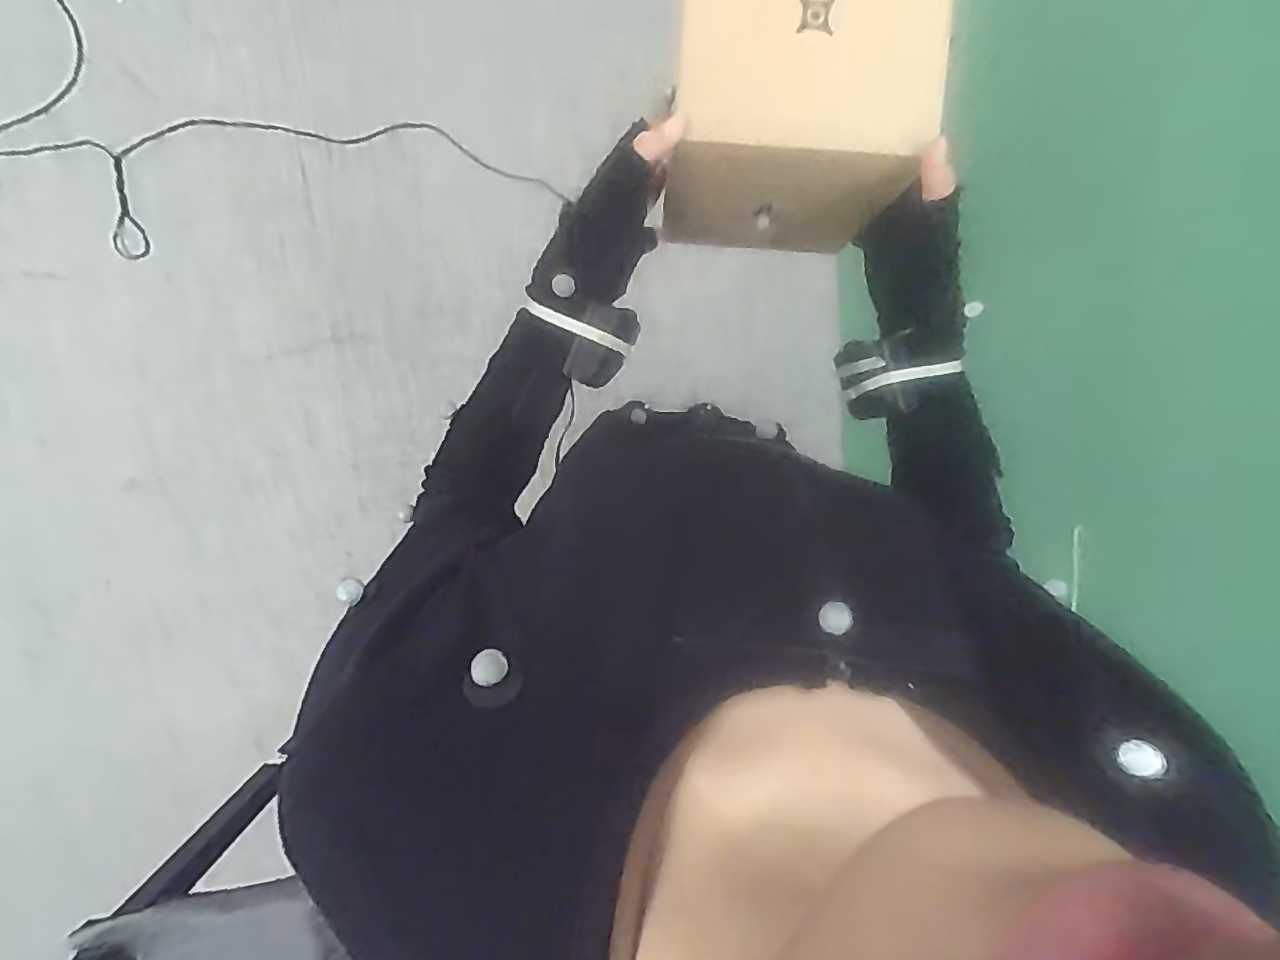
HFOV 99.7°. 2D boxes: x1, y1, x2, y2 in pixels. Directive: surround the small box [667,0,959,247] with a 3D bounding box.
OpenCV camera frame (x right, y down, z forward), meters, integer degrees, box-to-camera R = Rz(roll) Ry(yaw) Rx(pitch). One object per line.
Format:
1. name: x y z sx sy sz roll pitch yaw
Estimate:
1. small box: 0.110 -0.294 0.406 0.168 0.176 0.179 4 93 -1
